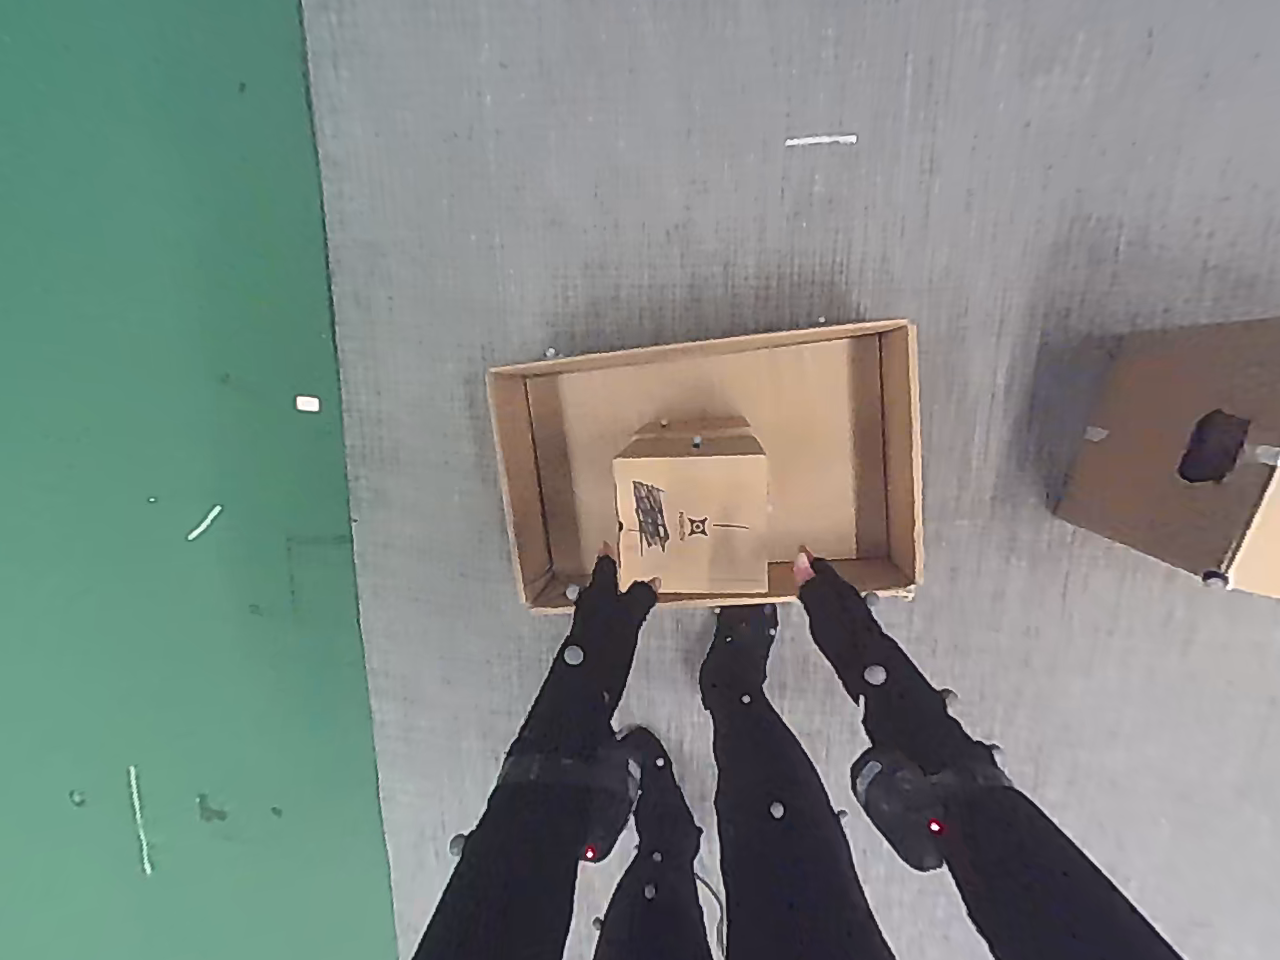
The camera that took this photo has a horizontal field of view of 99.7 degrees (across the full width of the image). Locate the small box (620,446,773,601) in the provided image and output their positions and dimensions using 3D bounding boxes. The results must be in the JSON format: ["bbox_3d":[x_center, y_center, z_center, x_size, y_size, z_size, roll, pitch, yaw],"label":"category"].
[{"bbox_3d":[0.077,0.048,0.704,0.179,0.176,0.168,-2,101,8],"label":"small box"}]

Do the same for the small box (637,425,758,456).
[{"bbox_3d":[0.098,0.006,0.863,0.179,0.176,0.168,-4,100,8],"label":"small box"}]
